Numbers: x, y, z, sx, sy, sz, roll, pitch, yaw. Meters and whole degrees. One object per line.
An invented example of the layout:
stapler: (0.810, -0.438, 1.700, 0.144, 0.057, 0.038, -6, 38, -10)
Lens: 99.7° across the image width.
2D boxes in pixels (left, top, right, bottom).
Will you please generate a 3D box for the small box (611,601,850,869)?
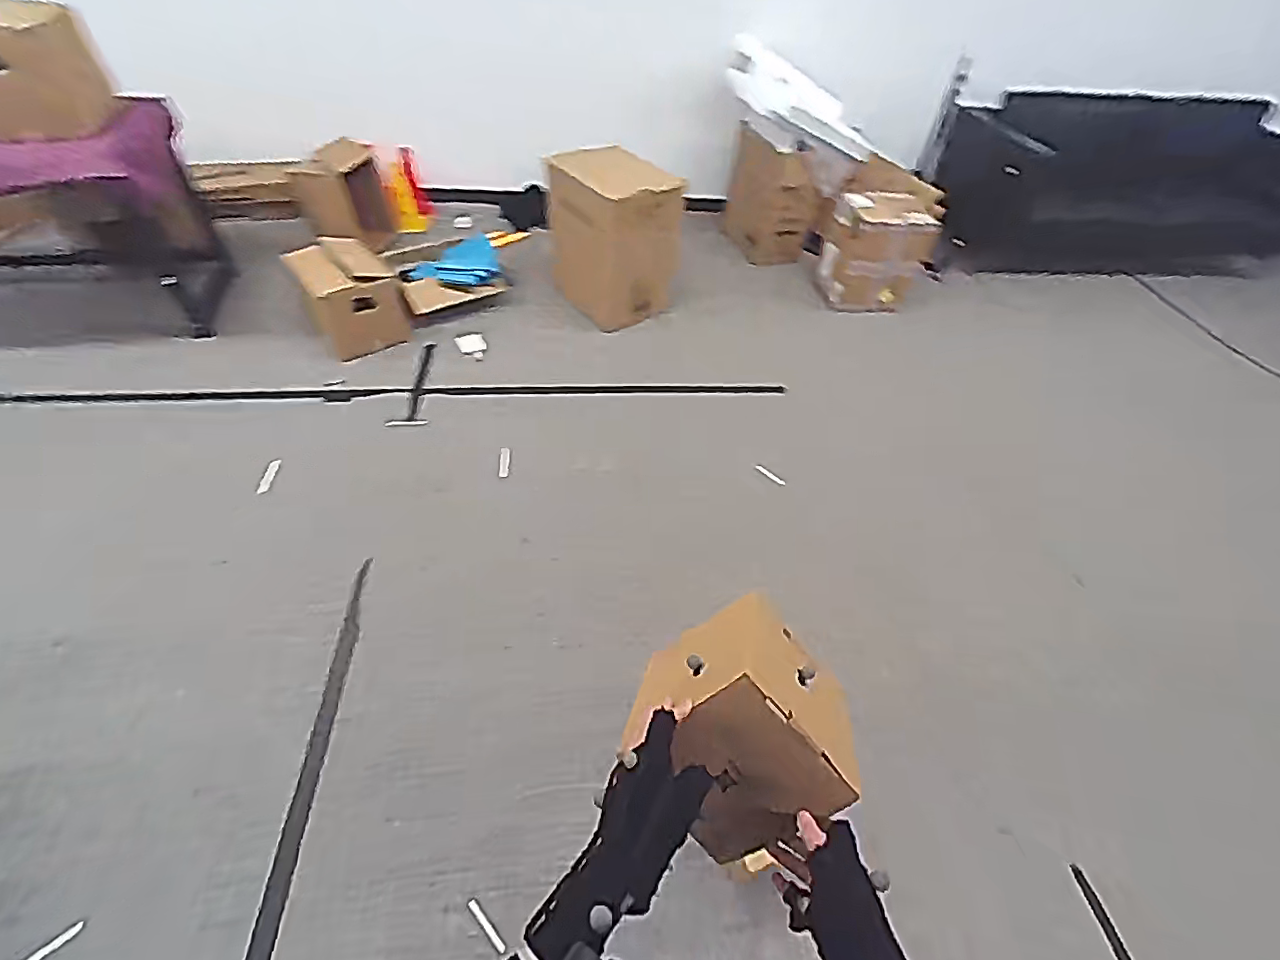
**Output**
small box: (0.098, 0.267, 0.601, 0.168, 0.179, 0.176, 46, 19, -2)

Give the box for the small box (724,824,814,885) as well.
small box: (0.265, 0.801, 1.242, 0.168, 0.176, 0.179, -11, 49, -16)
